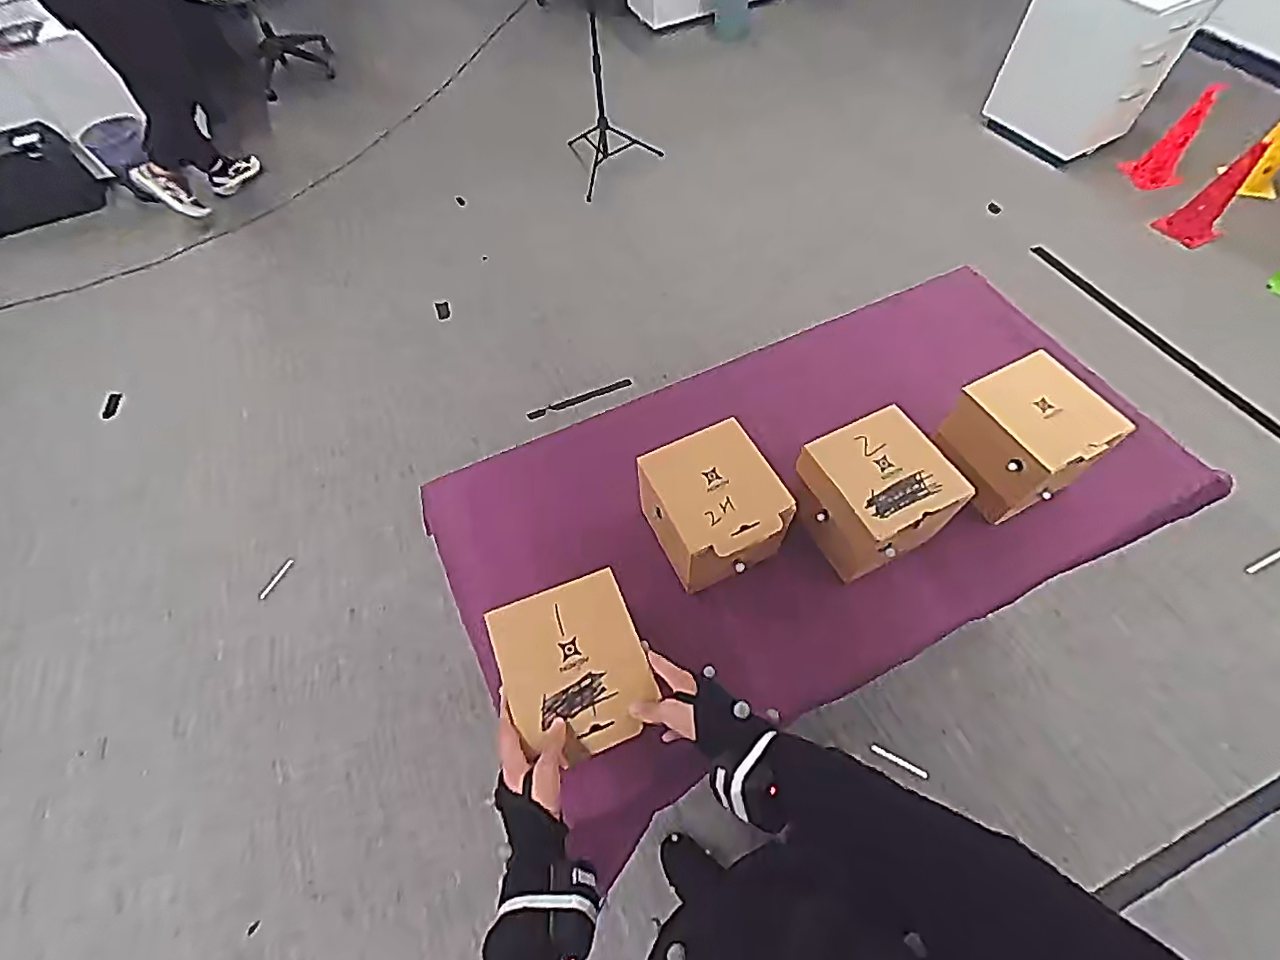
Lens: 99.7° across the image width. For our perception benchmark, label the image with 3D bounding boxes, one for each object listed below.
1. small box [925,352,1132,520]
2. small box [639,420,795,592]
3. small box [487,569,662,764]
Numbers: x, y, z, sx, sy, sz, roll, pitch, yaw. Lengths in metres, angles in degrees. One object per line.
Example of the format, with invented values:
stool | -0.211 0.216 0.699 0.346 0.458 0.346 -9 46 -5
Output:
small box | 0.604 -0.067 0.873 0.168 0.176 0.179 -25 62 -11
small box | 0.109 0.044 0.837 0.168 0.176 0.179 -24 62 -9
small box | -0.081 0.246 0.700 0.168 0.176 0.179 -19 62 -13
